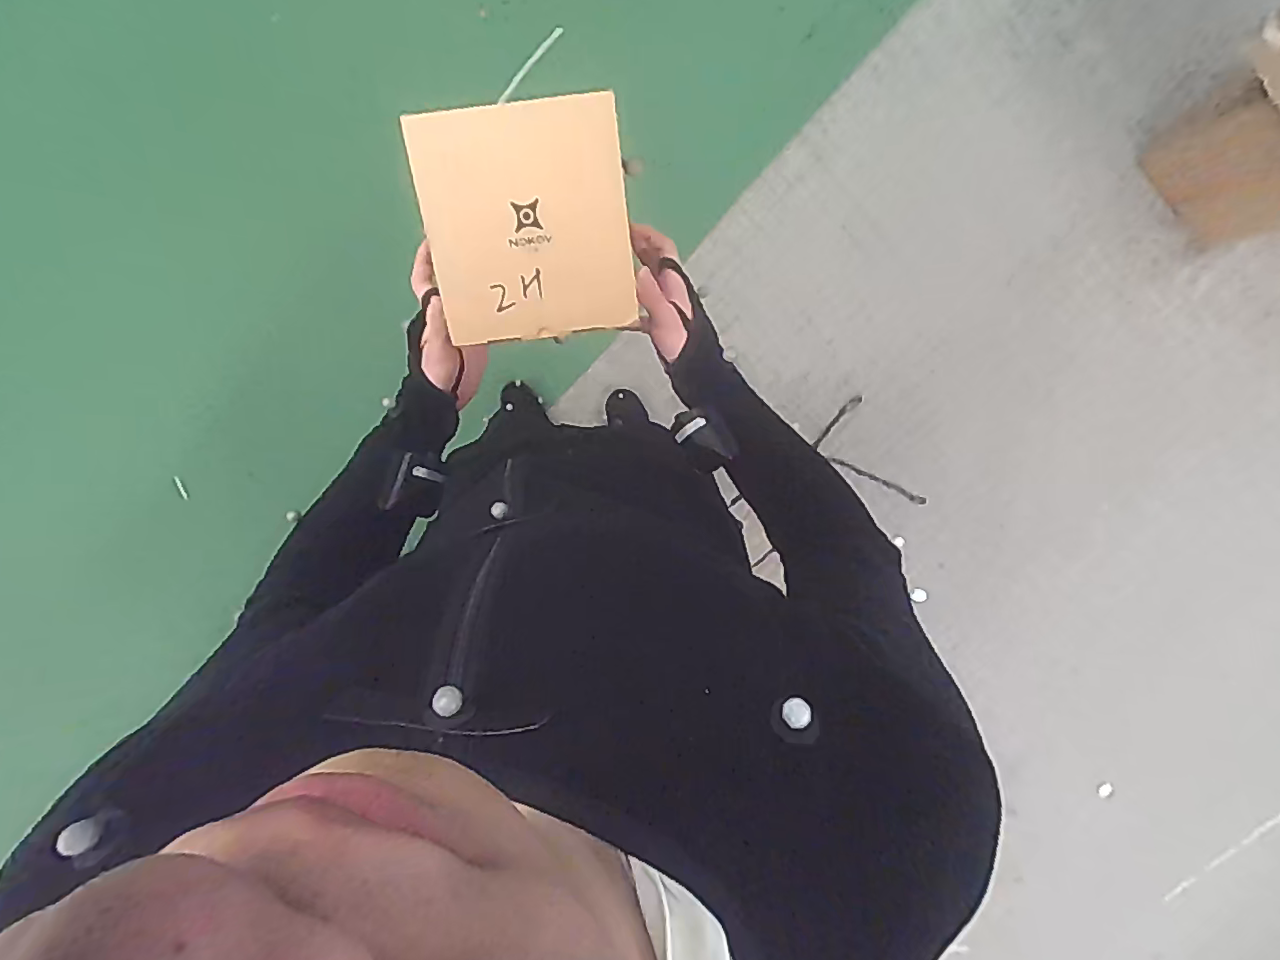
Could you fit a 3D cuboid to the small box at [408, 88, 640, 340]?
[{"bbox_3d":[-0.091,-0.234,0.511,0.168,0.176,0.179,-6,110,1],"label":"small box"}]
